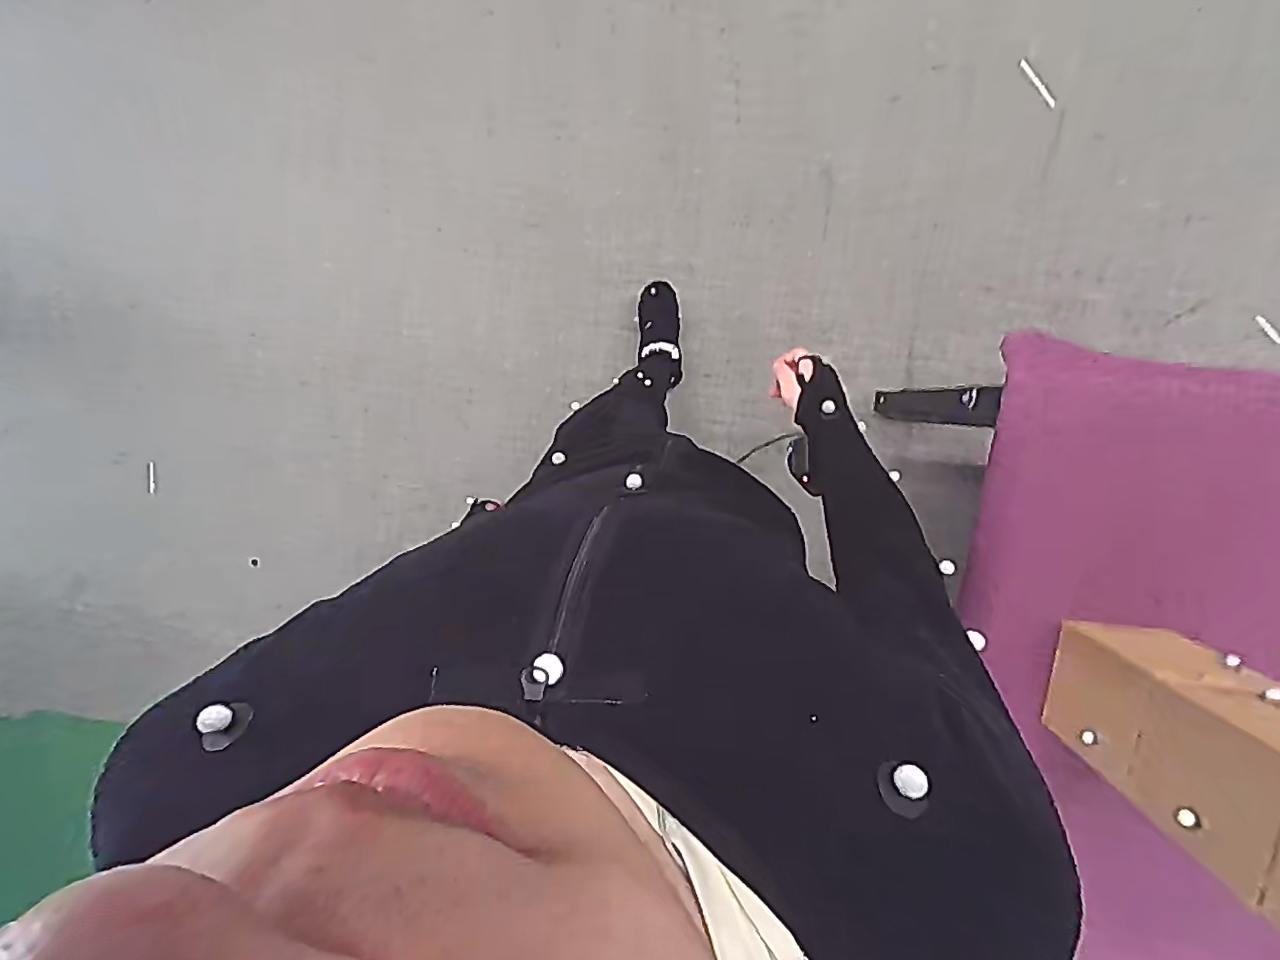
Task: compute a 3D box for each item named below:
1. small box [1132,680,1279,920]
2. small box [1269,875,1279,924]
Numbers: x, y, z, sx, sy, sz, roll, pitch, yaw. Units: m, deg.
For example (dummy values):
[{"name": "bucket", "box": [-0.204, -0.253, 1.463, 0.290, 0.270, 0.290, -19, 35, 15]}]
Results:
[{"name": "small box", "box": [0.716, 0.356, 0.610, 0.168, 0.176, 0.179, 6, 99, 3]}, {"name": "small box", "box": [0.711, 0.380, 0.449, 0.179, 0.176, 0.168, 5, 99, 4]}]
